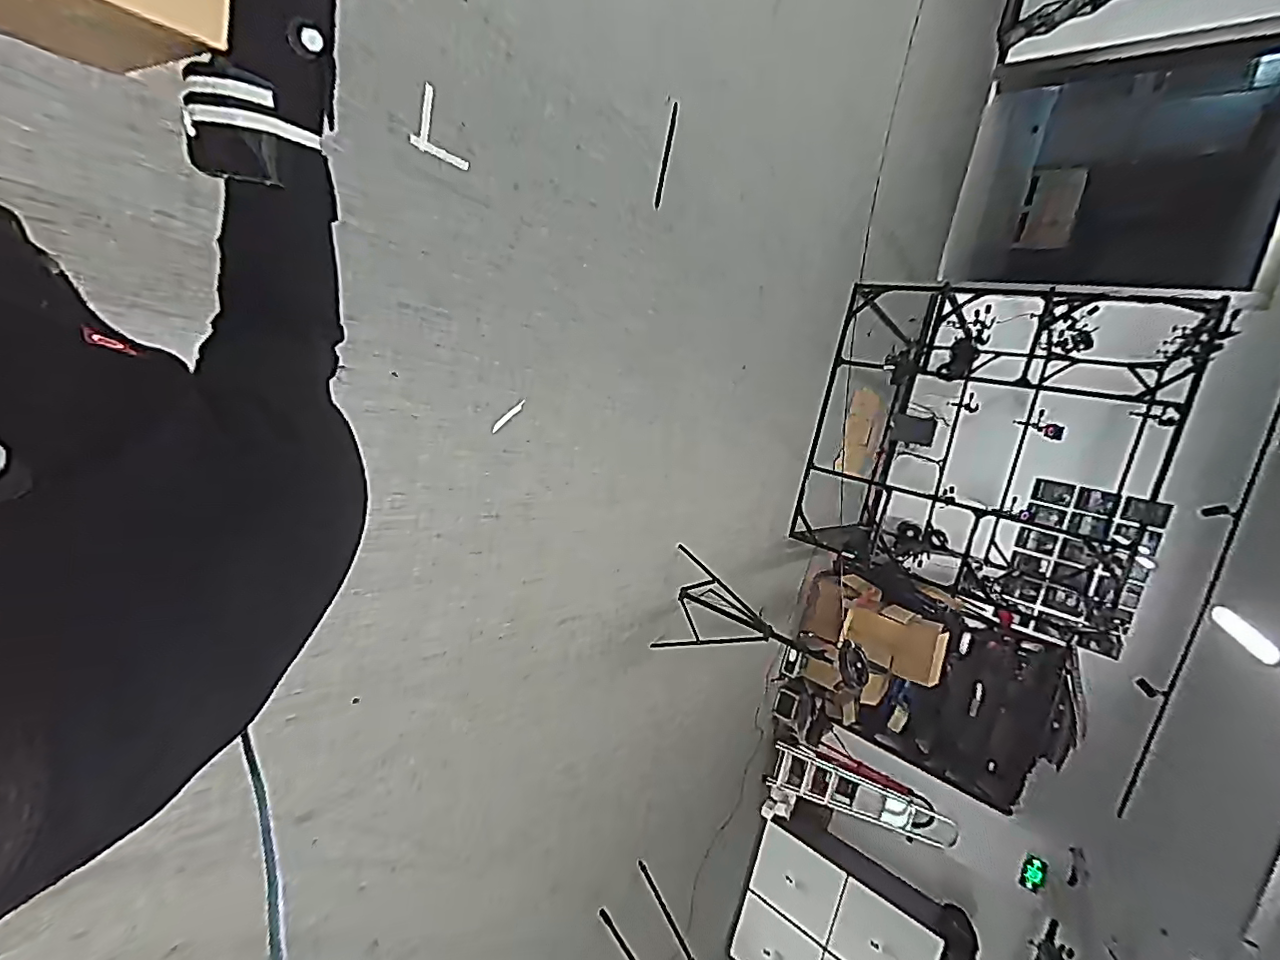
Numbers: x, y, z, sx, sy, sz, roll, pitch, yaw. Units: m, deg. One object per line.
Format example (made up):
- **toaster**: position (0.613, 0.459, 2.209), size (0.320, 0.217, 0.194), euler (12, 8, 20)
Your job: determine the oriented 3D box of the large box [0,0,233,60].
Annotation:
- **large box**: position (-0.469, -0.461, 0.233), size (0.408, 0.320, 0.320), euler (-9, 120, -53)
